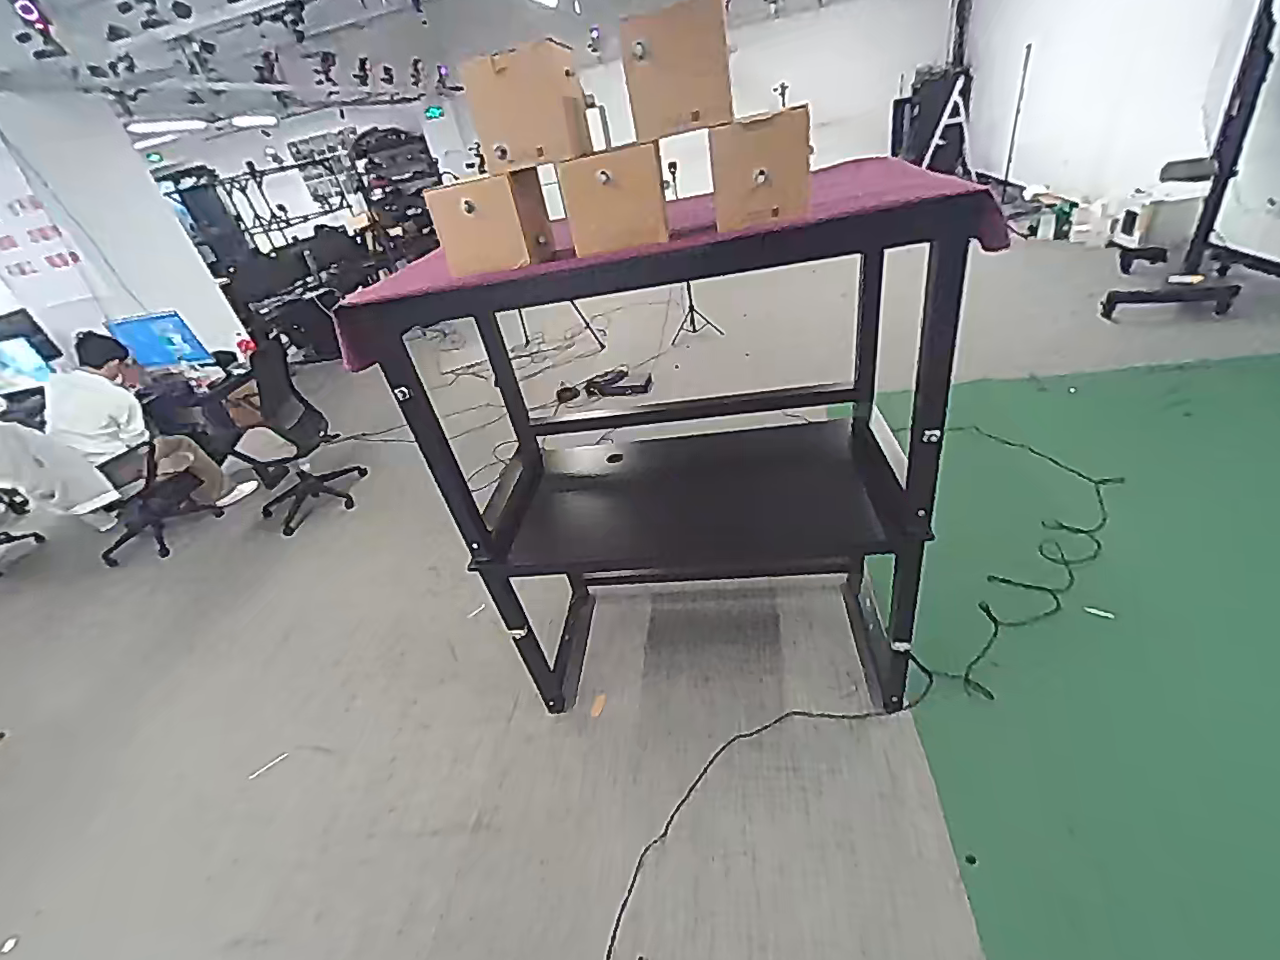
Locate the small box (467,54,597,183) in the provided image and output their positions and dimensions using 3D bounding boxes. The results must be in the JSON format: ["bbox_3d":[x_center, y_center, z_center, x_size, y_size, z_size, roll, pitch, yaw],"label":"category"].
[{"bbox_3d":[-0.188,-0.661,1.005,0.168,0.176,0.179,-5,32,12],"label":"small box"}]

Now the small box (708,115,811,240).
[{"bbox_3d":[0.223,-0.556,1.003,0.168,0.176,0.179,-4,34,13],"label":"small box"}]

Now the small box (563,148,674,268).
[{"bbox_3d":[-0.031,-0.529,1.054,0.179,0.176,0.168,-7,33,11],"label":"small box"}]

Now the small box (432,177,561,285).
[{"bbox_3d":[-0.282,-0.507,1.107,0.179,0.176,0.168,-2,34,15],"label":"small box"}]
